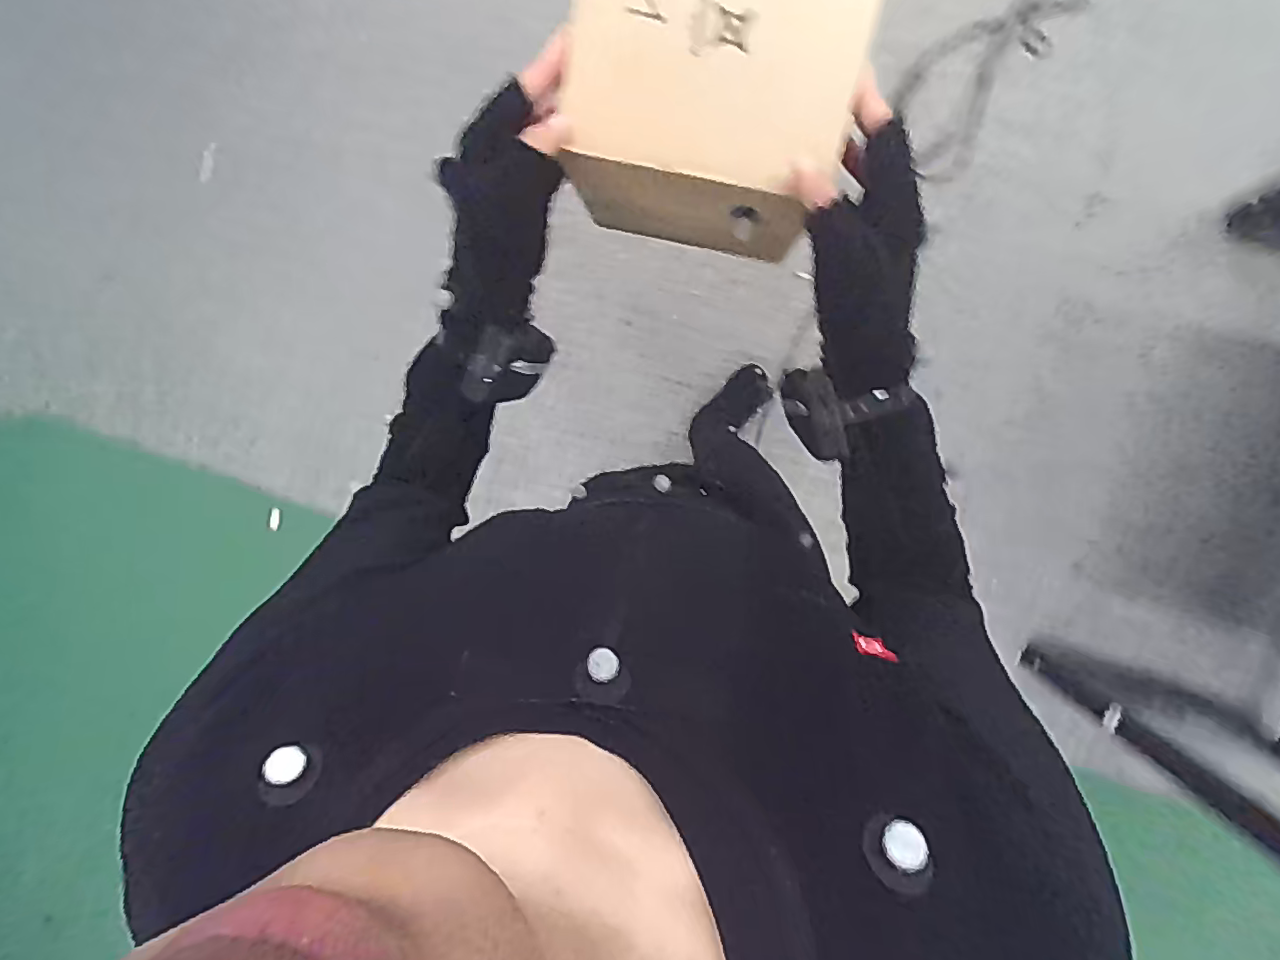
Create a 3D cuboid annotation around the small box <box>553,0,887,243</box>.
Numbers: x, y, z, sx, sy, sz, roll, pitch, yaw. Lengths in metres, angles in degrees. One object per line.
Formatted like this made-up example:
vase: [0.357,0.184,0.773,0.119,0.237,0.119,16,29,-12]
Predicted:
small box: [0.056,-0.283,0.385,0.179,0.176,0.168,13,101,3]
